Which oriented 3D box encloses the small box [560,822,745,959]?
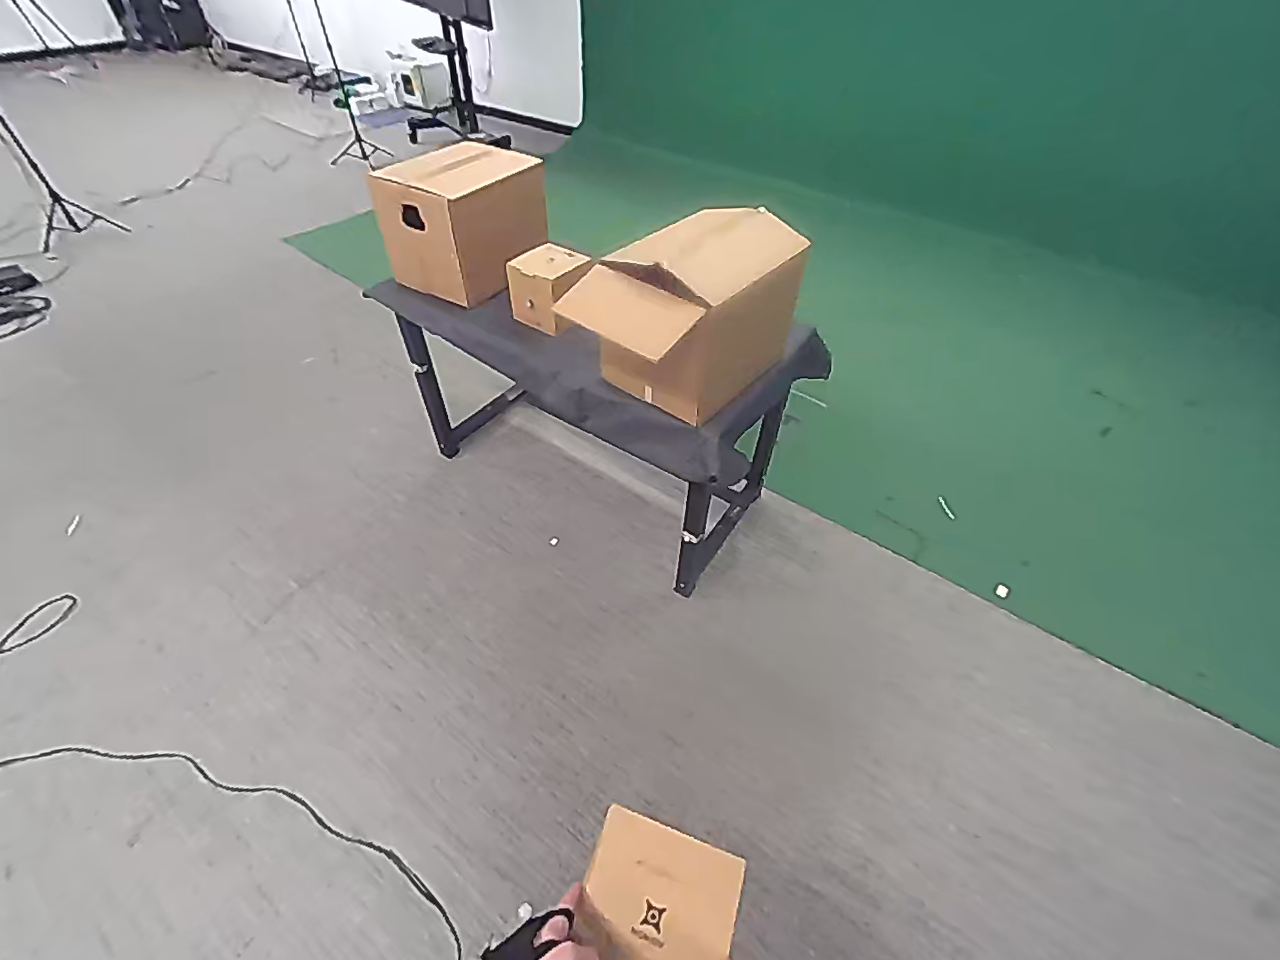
[{"bbox_3d":[0.007,0.527,0.609,0.168,0.176,0.179,17,49,10],"label":"small box"}]
